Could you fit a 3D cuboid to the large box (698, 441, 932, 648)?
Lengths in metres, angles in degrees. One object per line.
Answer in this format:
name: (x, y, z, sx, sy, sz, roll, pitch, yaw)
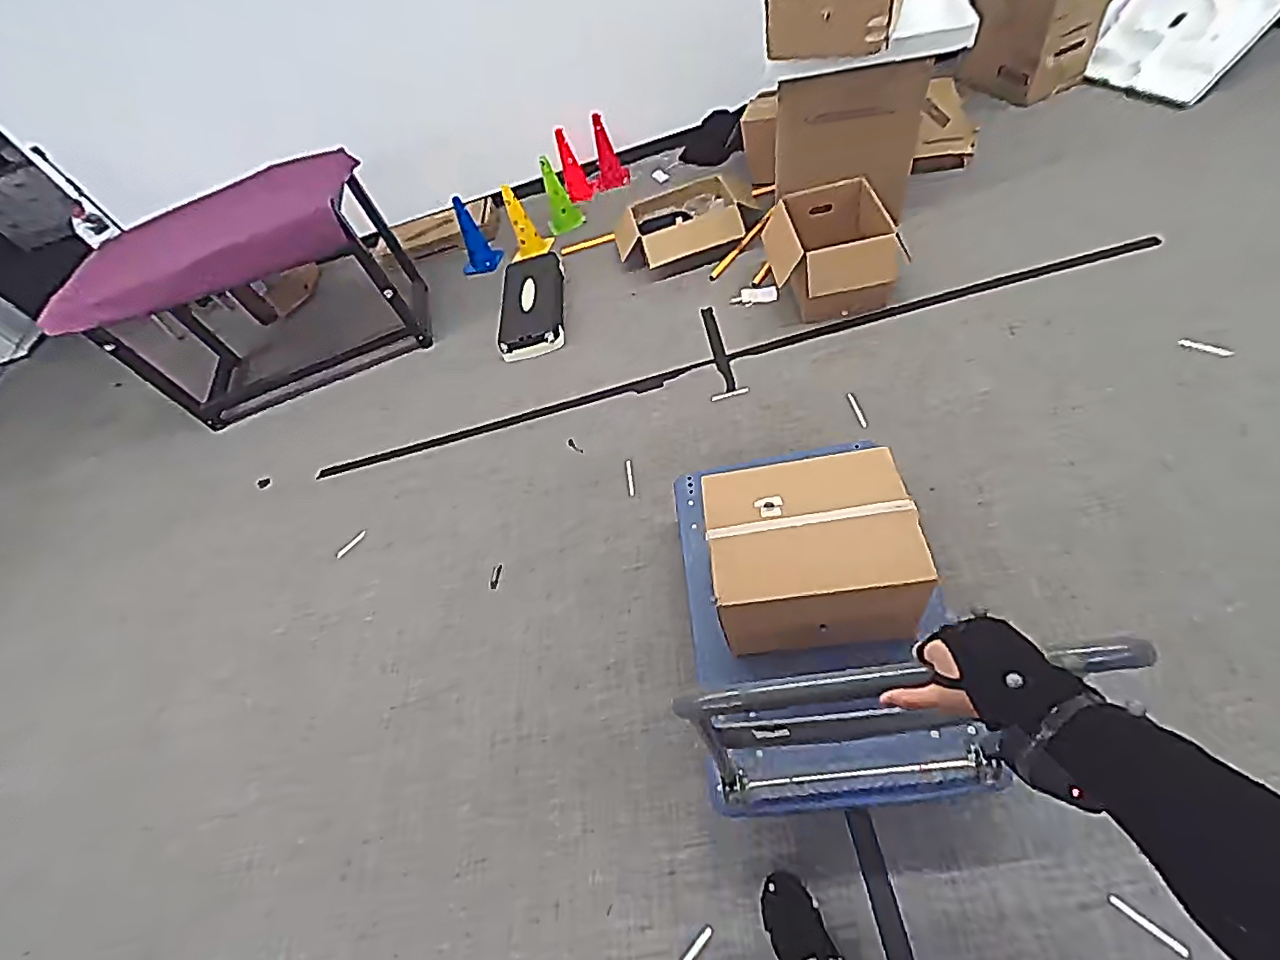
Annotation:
large box: (0.366, 0.158, 1.206, 0.408, 0.320, 0.320, -11, 52, 11)
